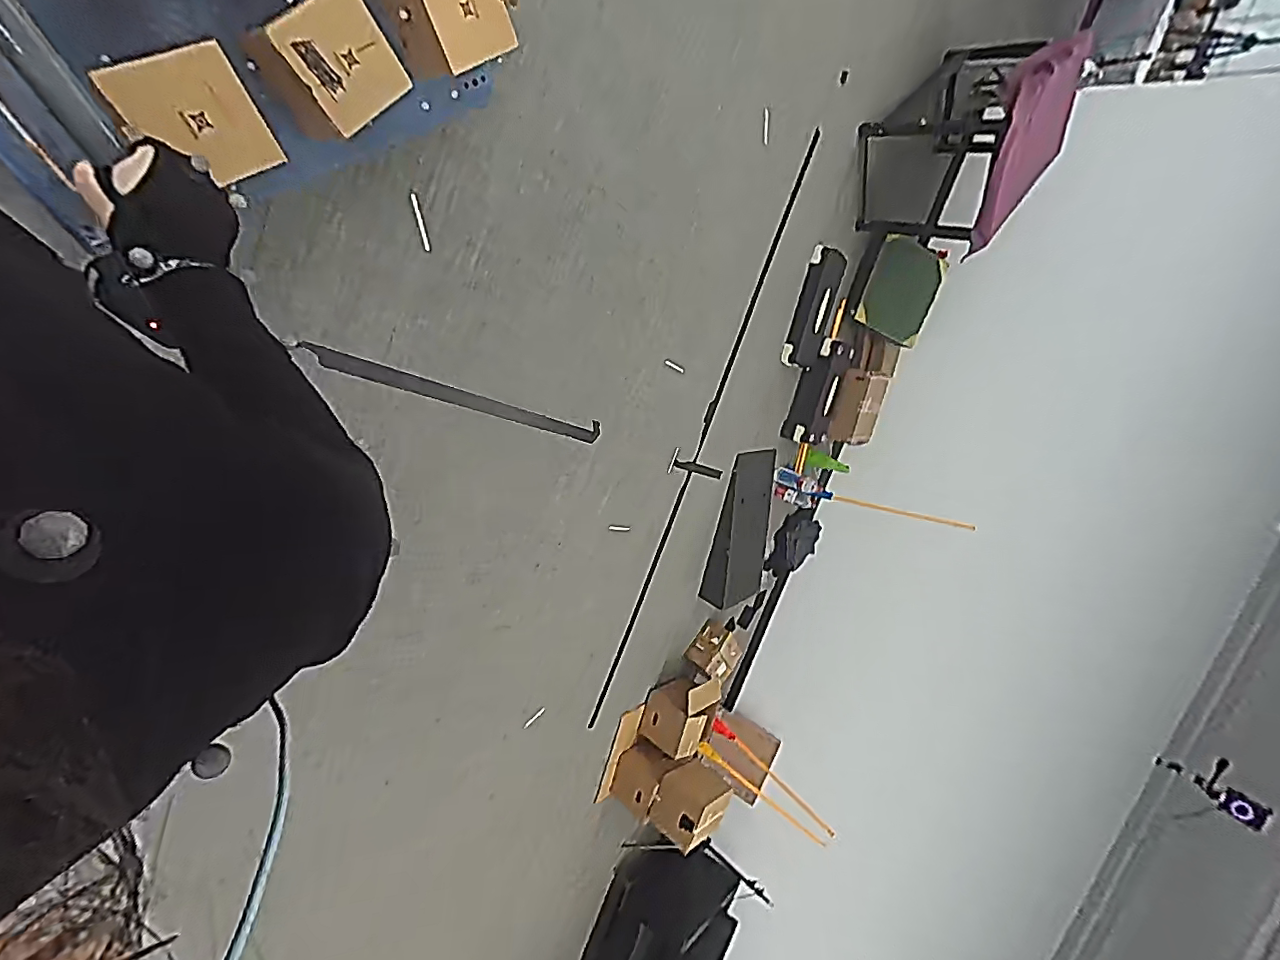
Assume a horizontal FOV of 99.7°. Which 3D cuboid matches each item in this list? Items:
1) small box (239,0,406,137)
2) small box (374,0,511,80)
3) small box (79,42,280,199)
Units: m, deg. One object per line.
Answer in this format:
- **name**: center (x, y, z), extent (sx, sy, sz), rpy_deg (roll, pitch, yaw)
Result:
- **small box**: center (-0.568, -0.738, 0.962), extent (0.179, 0.176, 0.168), rpy_deg (-53, 143, -17)
- **small box**: center (-0.397, -0.922, 1.070), extent (0.179, 0.176, 0.168), rpy_deg (-47, 141, -24)
- **small box**: center (-0.731, -0.567, 0.860), extent (0.179, 0.176, 0.168), rpy_deg (-44, 141, -27)
